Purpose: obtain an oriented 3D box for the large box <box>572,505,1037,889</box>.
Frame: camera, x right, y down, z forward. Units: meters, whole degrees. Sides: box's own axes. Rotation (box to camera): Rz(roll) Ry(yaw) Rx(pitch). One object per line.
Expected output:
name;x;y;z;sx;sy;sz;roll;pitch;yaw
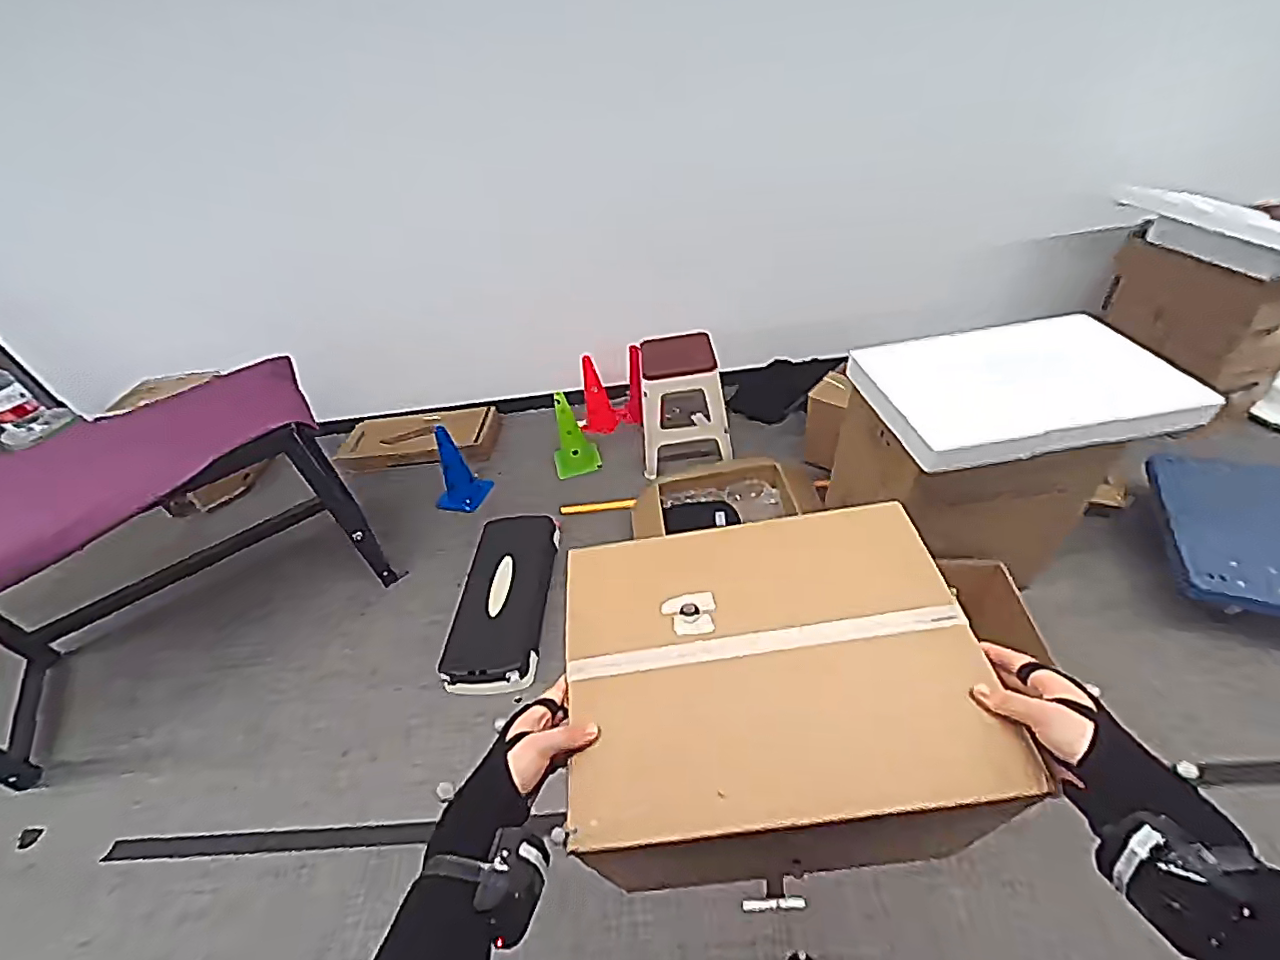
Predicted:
large box;0.151;0.275;0.668;0.408;0.320;0.320;-10;45;4
